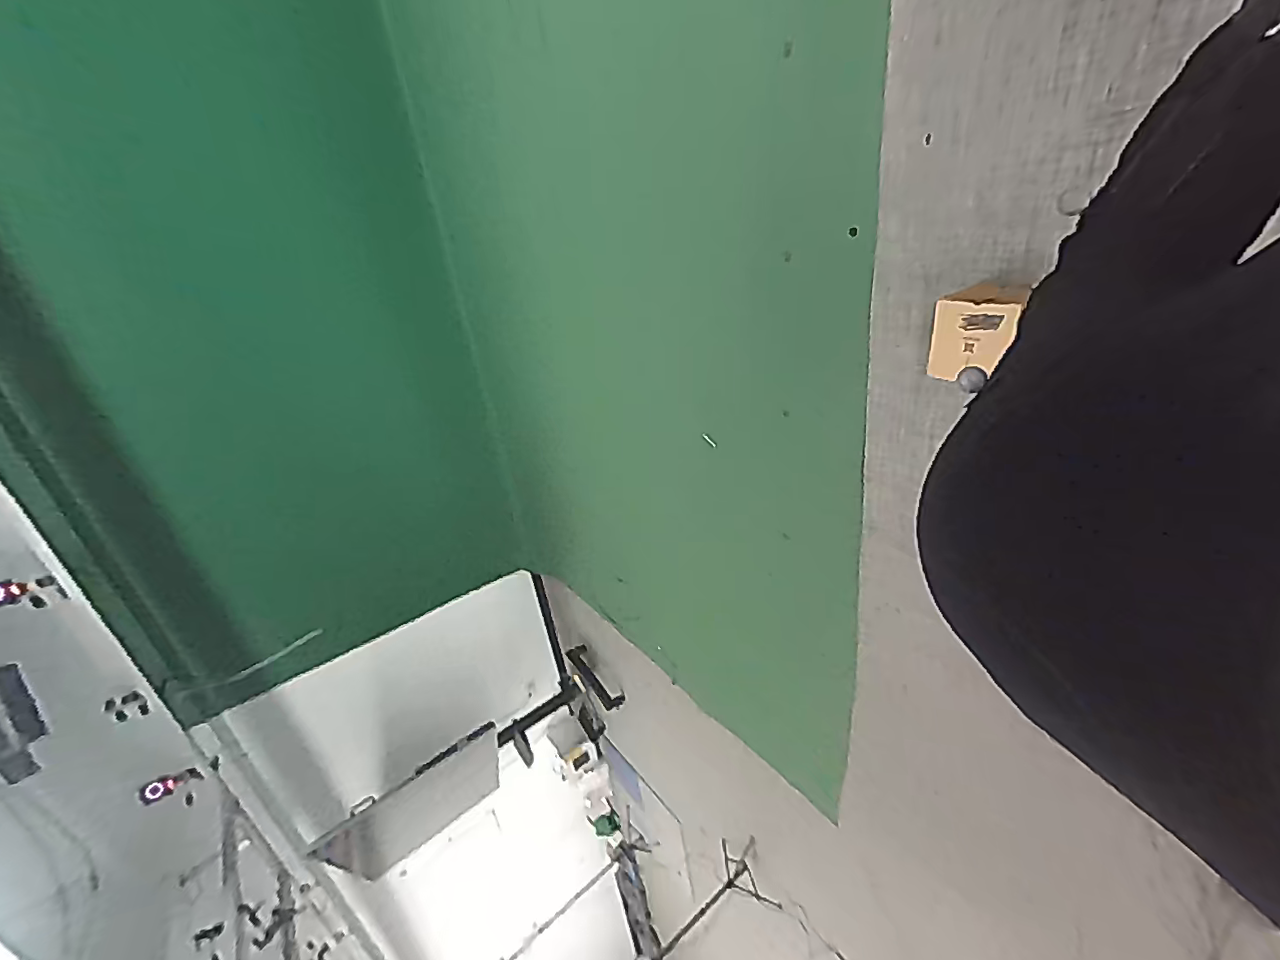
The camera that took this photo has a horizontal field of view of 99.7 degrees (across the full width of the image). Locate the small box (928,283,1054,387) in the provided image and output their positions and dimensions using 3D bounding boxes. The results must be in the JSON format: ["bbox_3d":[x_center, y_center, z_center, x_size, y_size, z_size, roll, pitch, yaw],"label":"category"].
[{"bbox_3d":[0.761,-0.323,1.176,0.168,0.176,0.179,28,135,47],"label":"small box"}]
